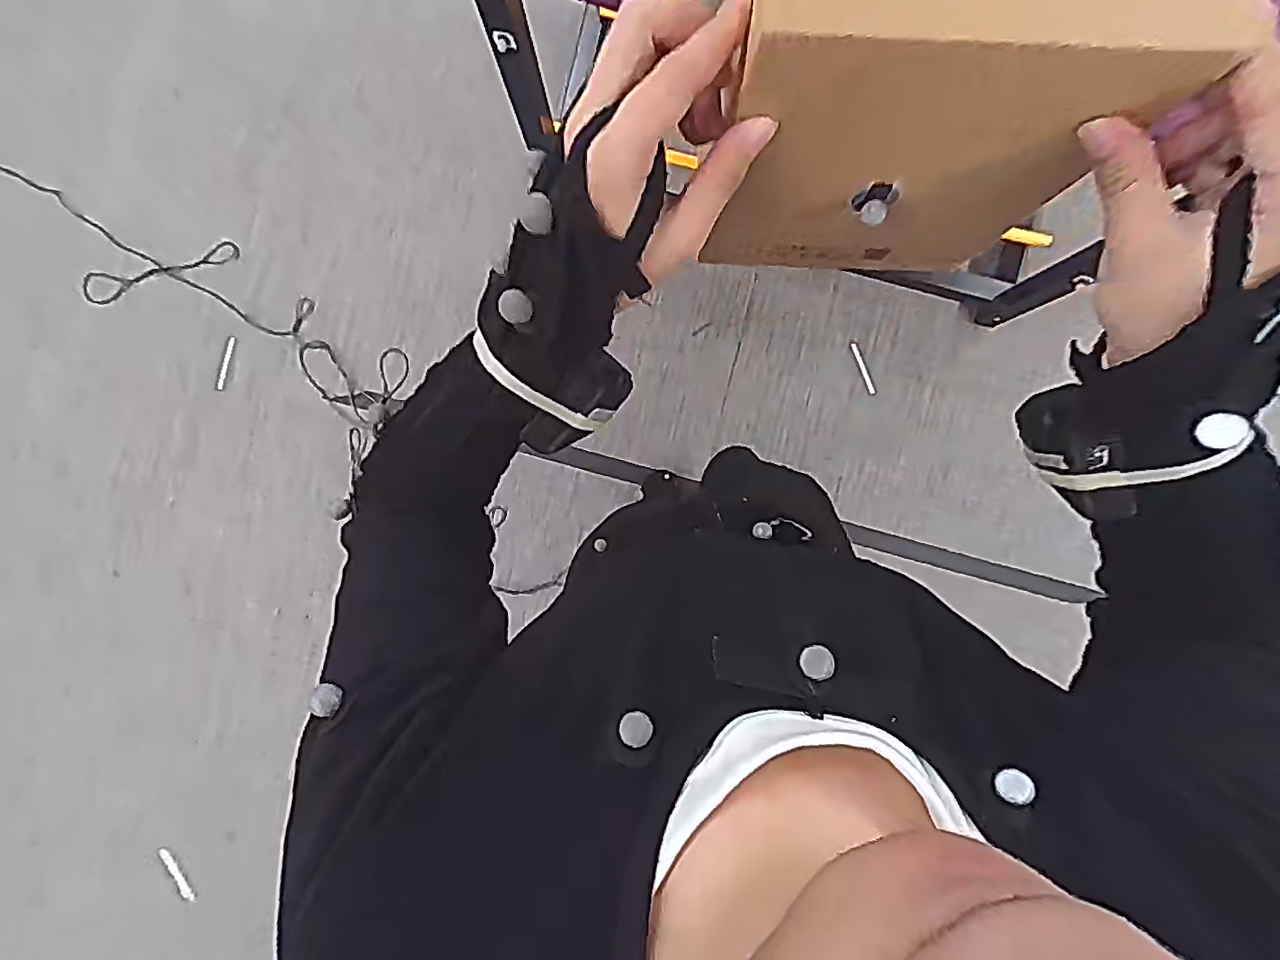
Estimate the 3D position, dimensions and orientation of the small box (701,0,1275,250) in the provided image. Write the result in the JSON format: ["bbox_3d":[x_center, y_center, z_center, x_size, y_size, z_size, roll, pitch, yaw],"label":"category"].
[{"bbox_3d":[0.123,-0.230,0.256,0.168,0.176,0.179,2,87,-2],"label":"small box"}]
